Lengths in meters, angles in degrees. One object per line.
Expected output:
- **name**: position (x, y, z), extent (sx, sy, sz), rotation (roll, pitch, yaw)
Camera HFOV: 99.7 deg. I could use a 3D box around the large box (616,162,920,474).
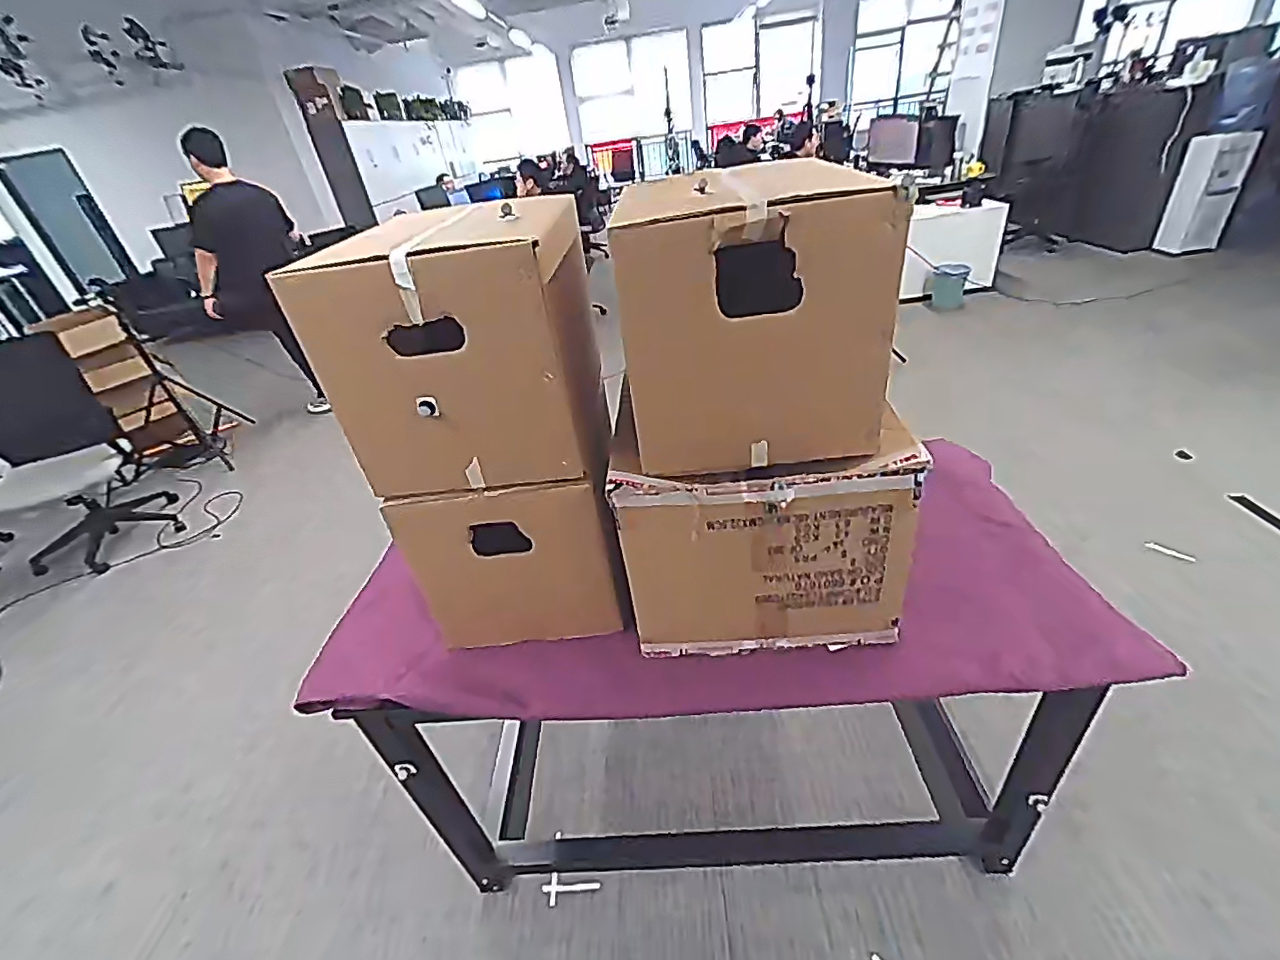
- **large box**: position (0.145, -0.255, 0.790), extent (0.320, 0.320, 0.408), rotation (-7, 34, 5)
